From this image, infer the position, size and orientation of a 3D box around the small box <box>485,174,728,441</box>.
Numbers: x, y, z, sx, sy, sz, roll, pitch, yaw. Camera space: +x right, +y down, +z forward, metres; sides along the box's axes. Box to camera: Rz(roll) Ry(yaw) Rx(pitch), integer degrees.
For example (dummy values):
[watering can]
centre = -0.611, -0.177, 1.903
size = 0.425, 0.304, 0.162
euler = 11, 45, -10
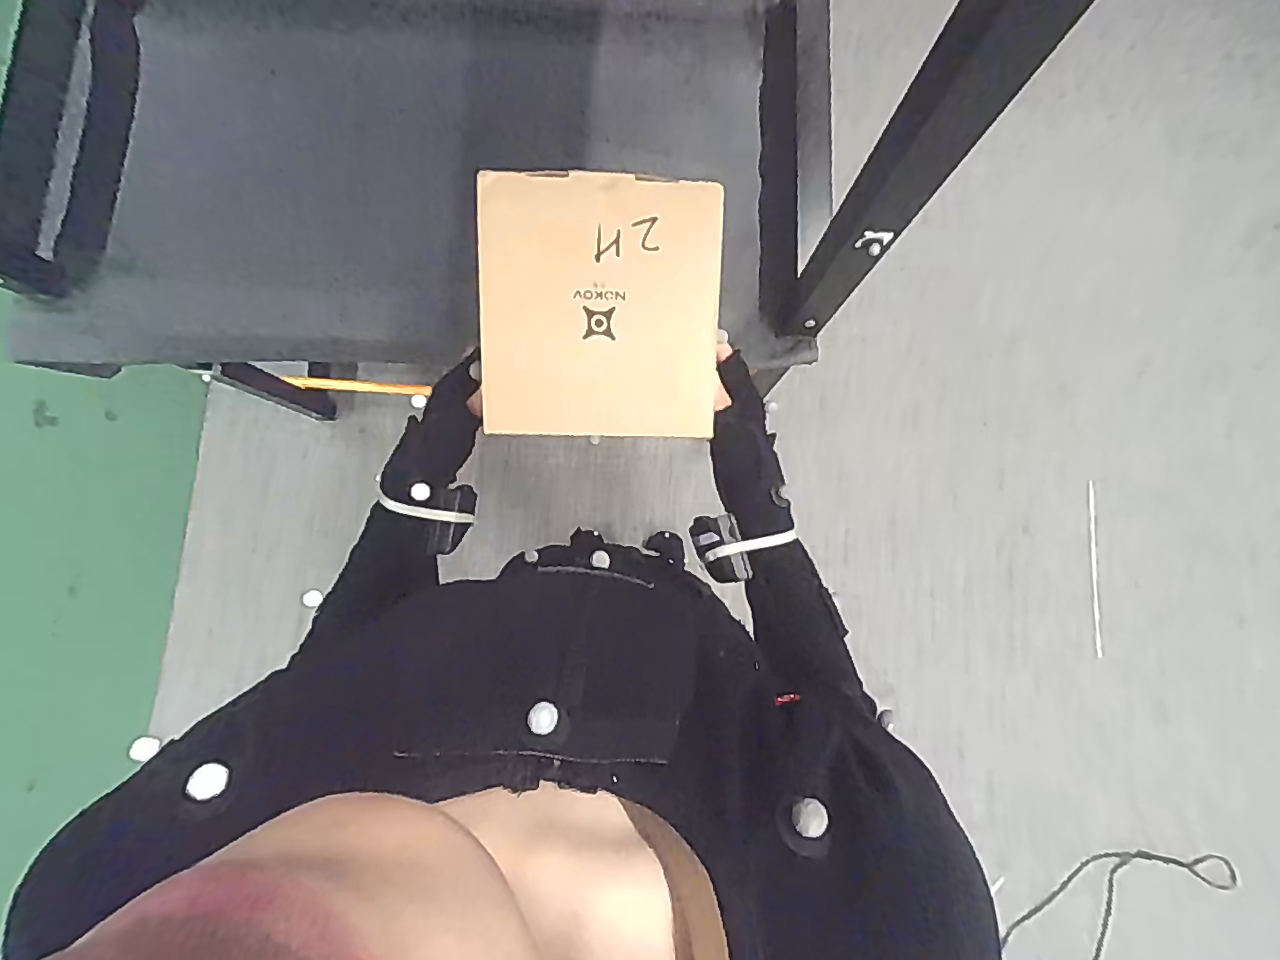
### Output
[small box]
centre = -0.028, -0.131, 0.455
size = 0.168, 0.176, 0.179
euler = 1, 101, -4
